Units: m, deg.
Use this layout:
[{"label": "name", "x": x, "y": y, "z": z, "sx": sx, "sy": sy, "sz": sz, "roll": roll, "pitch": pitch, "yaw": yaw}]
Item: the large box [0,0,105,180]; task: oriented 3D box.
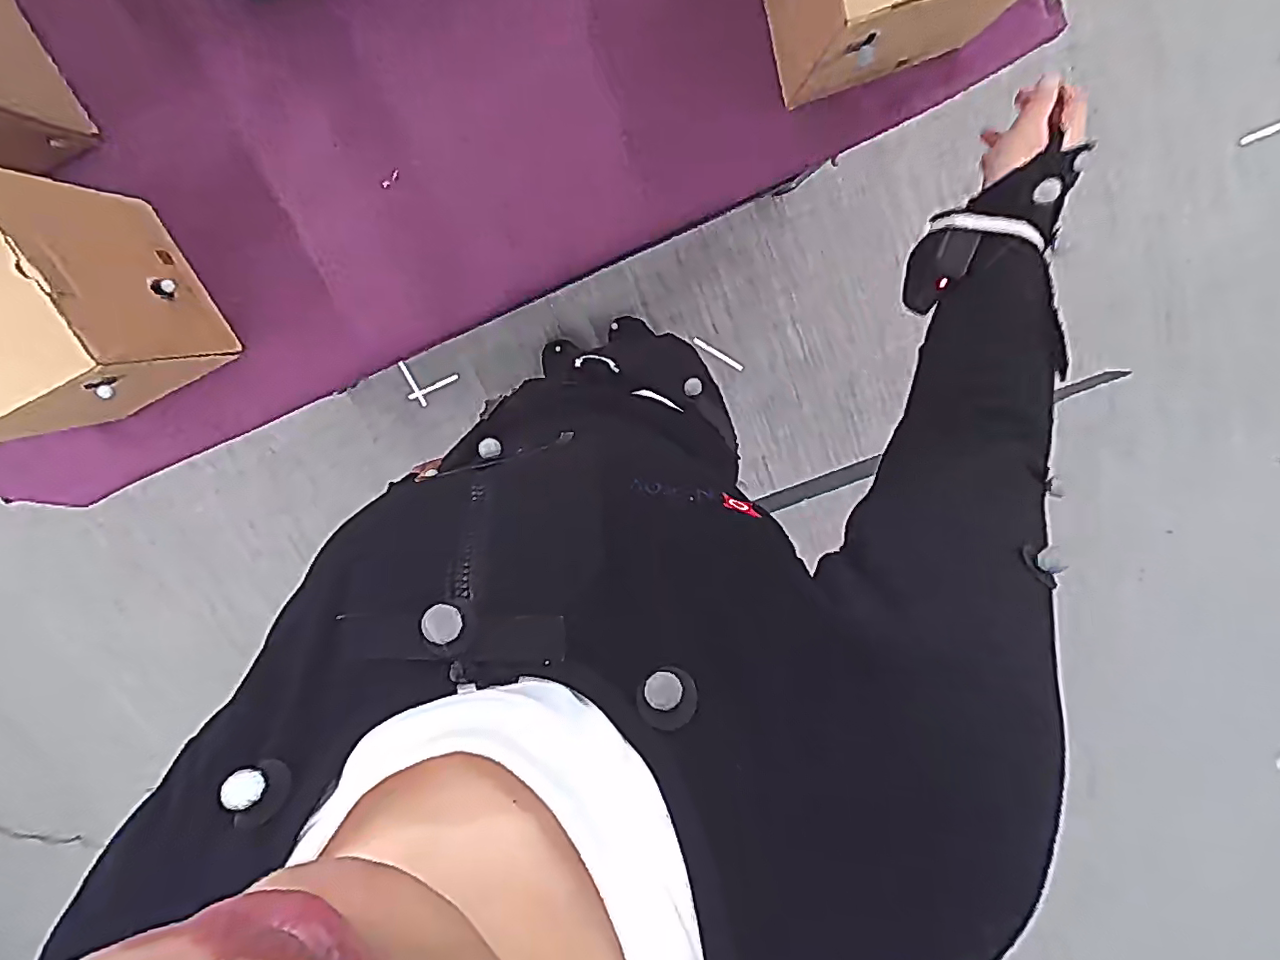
[{"label": "large box", "x": -0.731, "y": -0.400, "z": 0.345, "sx": 0.320, "sy": 0.320, "sz": 0.408, "roll": -24, "pitch": 108, "yaw": 6}]

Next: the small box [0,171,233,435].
[{"label": "small box", "x": -0.544, "y": -0.150, "z": 0.499, "sx": 0.179, "sy": 0.176, "sz": 0.168, "roll": -25, "pitch": 105, "yaw": 6}]
